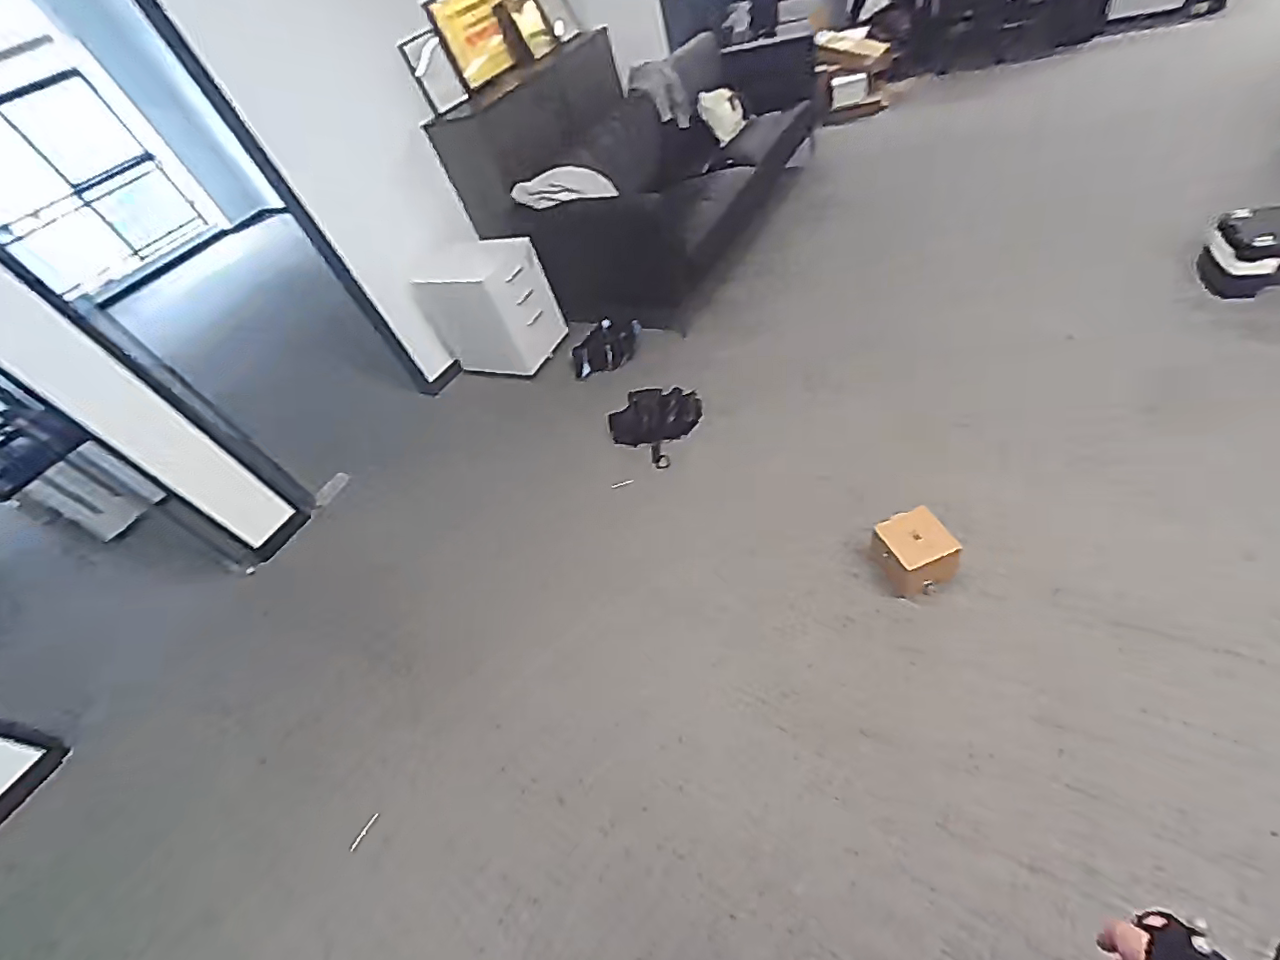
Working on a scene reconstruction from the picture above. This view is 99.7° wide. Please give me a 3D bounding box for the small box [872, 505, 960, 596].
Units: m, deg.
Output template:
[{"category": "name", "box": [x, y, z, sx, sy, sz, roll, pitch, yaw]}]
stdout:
[{"category": "small box", "box": [0.810, 0.212, 1.608, 0.168, 0.176, 0.179, -25, 46, 0]}]
